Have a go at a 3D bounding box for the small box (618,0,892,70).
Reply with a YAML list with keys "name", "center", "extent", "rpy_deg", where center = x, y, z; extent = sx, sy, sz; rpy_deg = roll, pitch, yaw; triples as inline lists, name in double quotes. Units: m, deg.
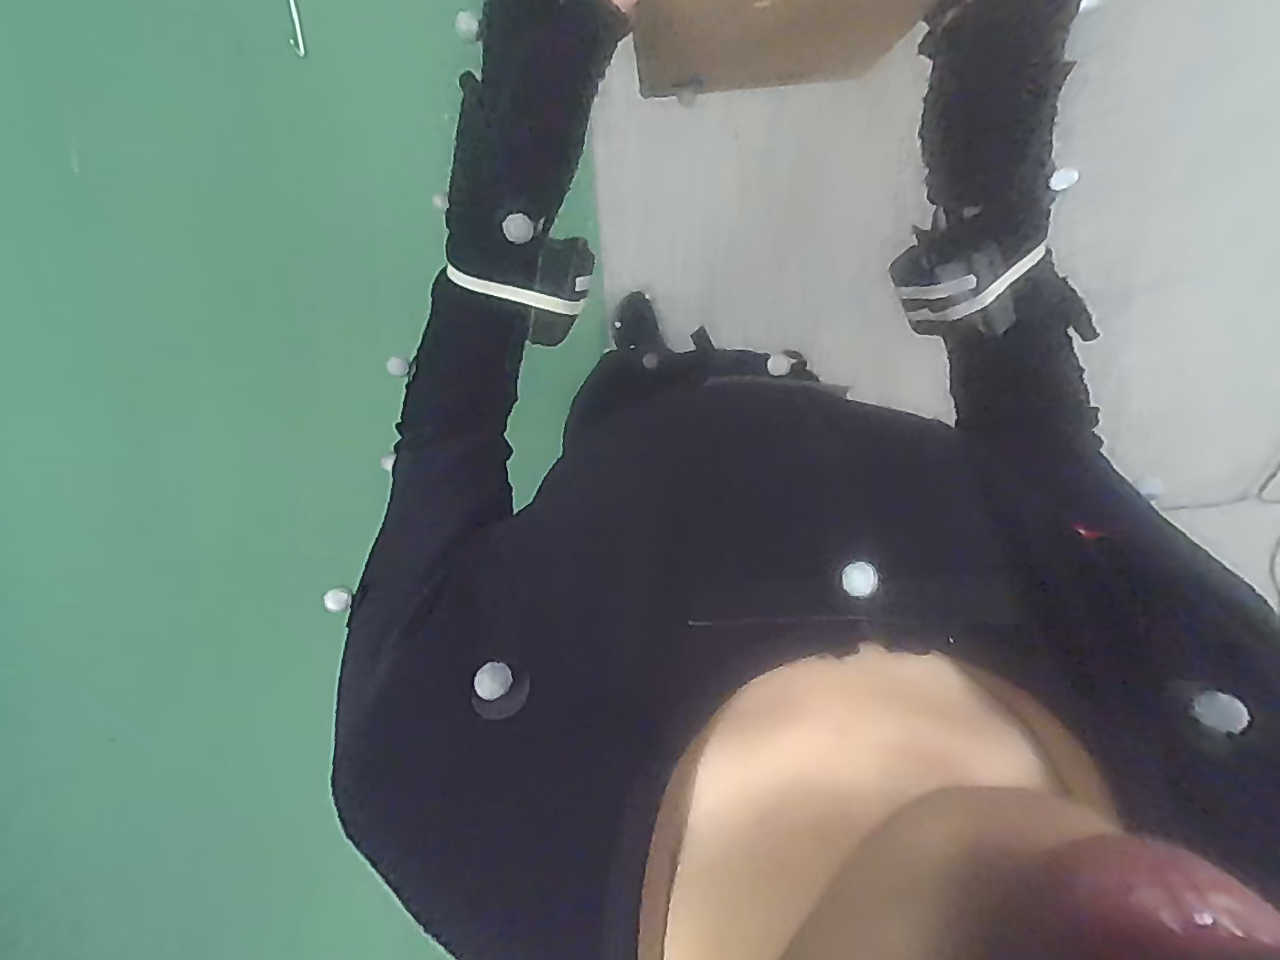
- name: "small box"
  center: [0.065, -0.348, 0.285]
  extent: [0.168, 0.176, 0.179]
  rpy_deg: [-3, 108, 4]
